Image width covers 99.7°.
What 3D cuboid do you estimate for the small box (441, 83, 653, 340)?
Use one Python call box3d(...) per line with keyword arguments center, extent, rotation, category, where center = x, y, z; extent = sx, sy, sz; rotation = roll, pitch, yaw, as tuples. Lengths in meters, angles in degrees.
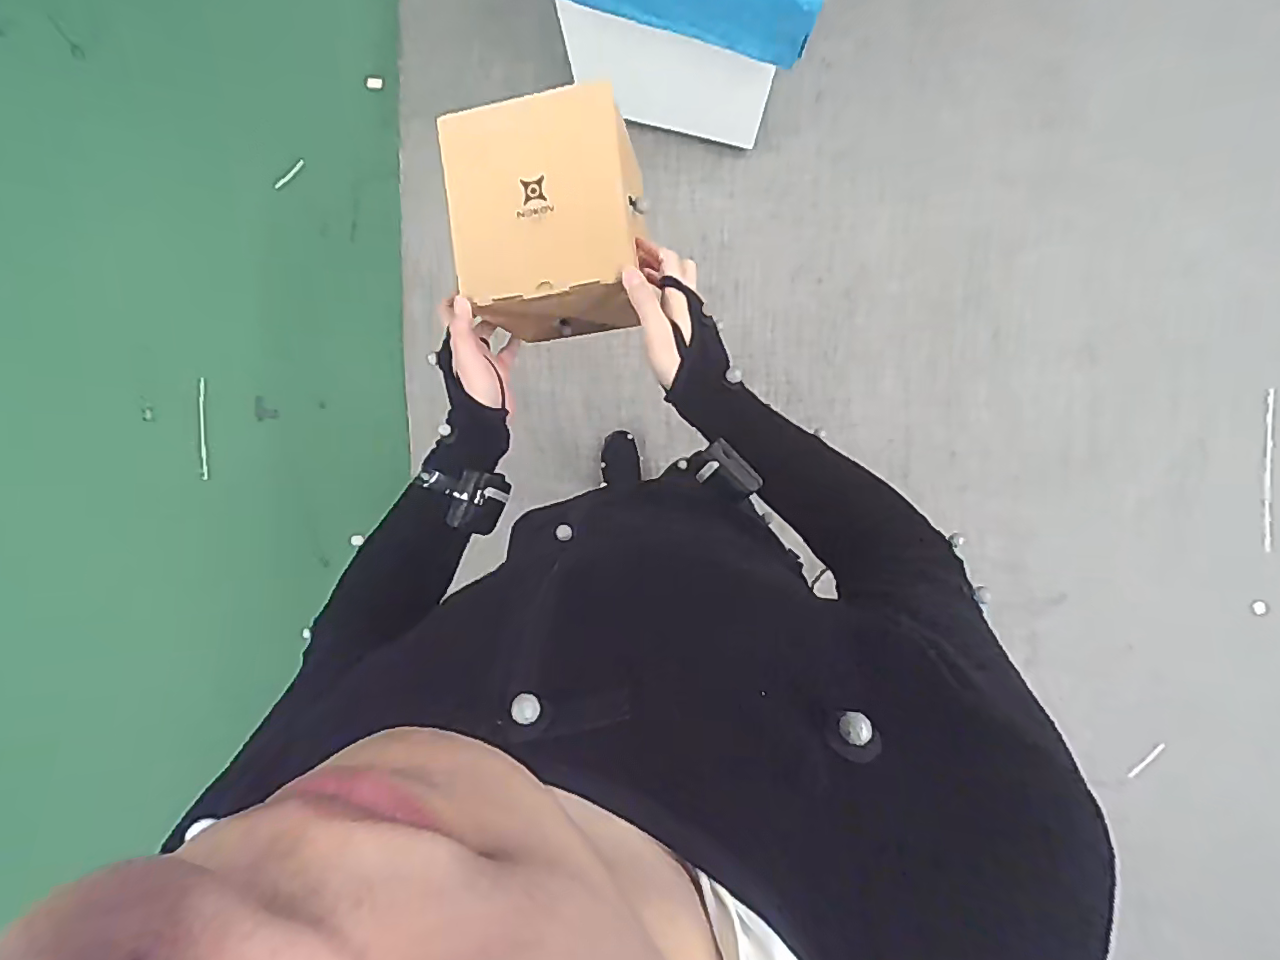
box3d(center=(-0.083, -0.258, 0.565), extent=(0.168, 0.176, 0.179), rotation=(-6, 93, 9), category="small box")
